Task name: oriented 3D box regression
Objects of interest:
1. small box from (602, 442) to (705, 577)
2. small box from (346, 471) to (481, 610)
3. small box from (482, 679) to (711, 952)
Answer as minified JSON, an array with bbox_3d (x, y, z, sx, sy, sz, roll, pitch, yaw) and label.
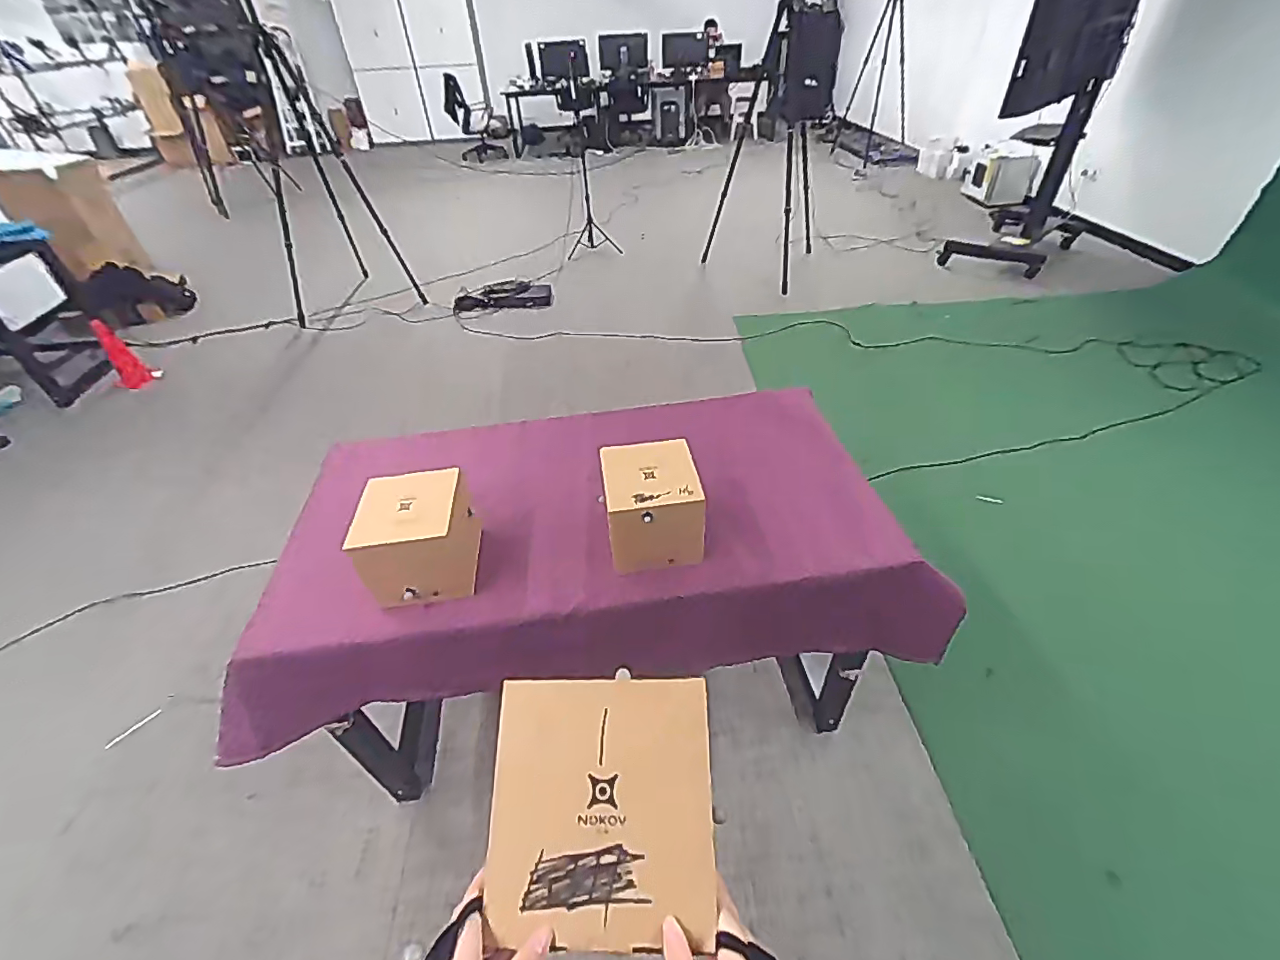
[{"bbox_3d":[0.023,0.054,1.007,0.168,0.176,0.179,-8,41,-3],"label":"small box"},{"bbox_3d":[-0.393,0.109,0.977,0.168,0.176,0.179,-7,42,-3],"label":"small box"},{"bbox_3d":[-0.025,0.274,0.479,0.168,0.176,0.179,-1,65,3],"label":"small box"}]
